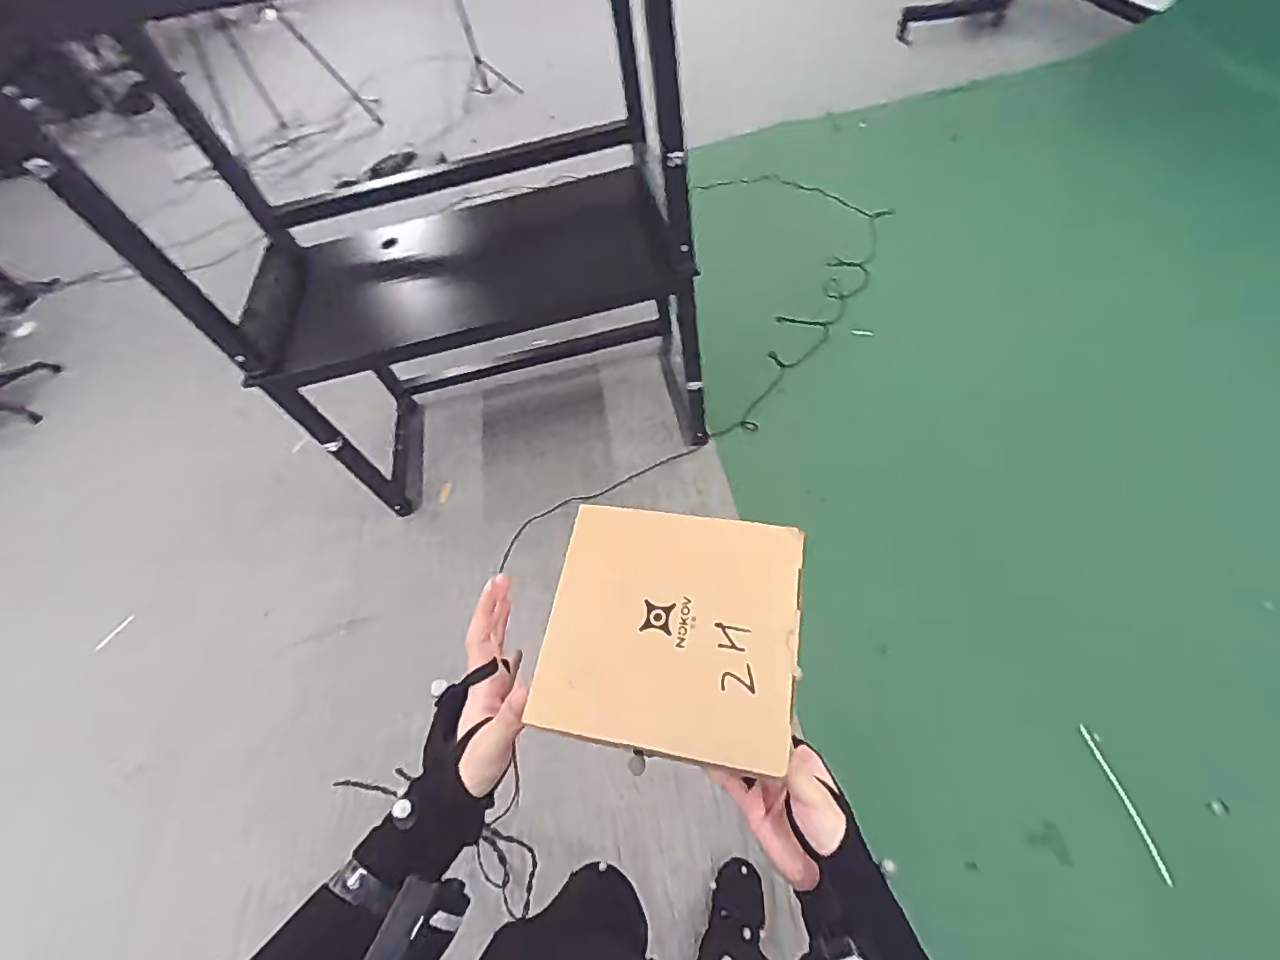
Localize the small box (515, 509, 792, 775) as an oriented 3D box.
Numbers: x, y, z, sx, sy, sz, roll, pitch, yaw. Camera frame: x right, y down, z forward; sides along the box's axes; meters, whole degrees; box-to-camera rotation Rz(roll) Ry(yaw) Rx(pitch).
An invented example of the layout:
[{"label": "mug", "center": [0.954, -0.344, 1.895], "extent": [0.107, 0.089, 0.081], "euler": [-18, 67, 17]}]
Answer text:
[{"label": "small box", "center": [0.026, 0.140, 0.451], "extent": [0.179, 0.176, 0.168], "euler": [6, 63, 13]}]
